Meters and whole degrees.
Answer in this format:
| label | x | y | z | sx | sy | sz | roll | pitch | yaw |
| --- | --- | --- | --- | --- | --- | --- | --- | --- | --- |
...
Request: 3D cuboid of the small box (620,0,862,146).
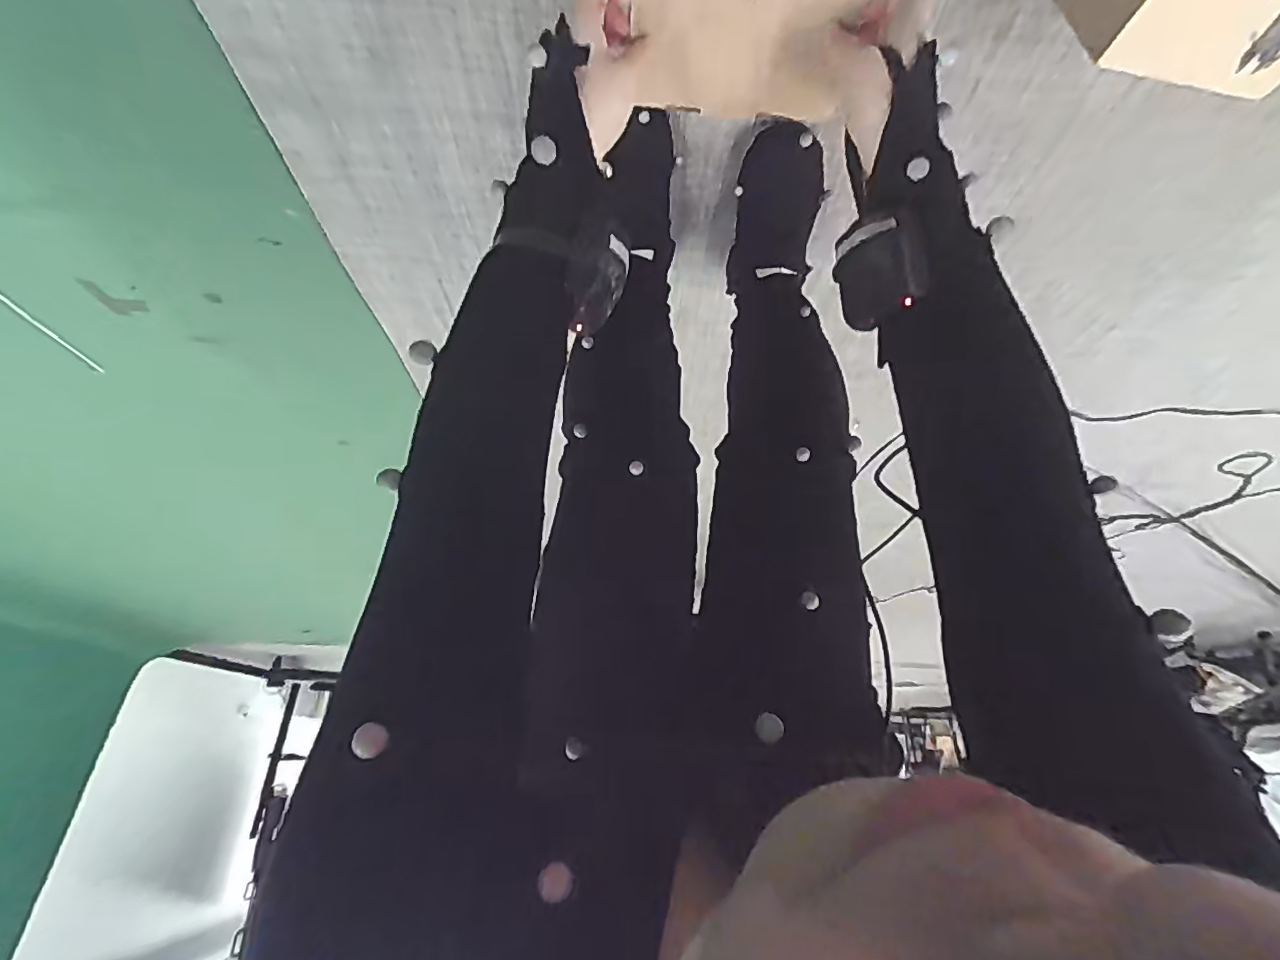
| label | x | y | z | sx | sy | sz | roll | pitch | yaw |
| --- | --- | --- | --- | --- | --- | --- | --- | --- | --- |
| small box | 0.073 | -0.397 | 0.422 | 0.168 | 0.176 | 0.179 | 3 | 142 | -4 |
